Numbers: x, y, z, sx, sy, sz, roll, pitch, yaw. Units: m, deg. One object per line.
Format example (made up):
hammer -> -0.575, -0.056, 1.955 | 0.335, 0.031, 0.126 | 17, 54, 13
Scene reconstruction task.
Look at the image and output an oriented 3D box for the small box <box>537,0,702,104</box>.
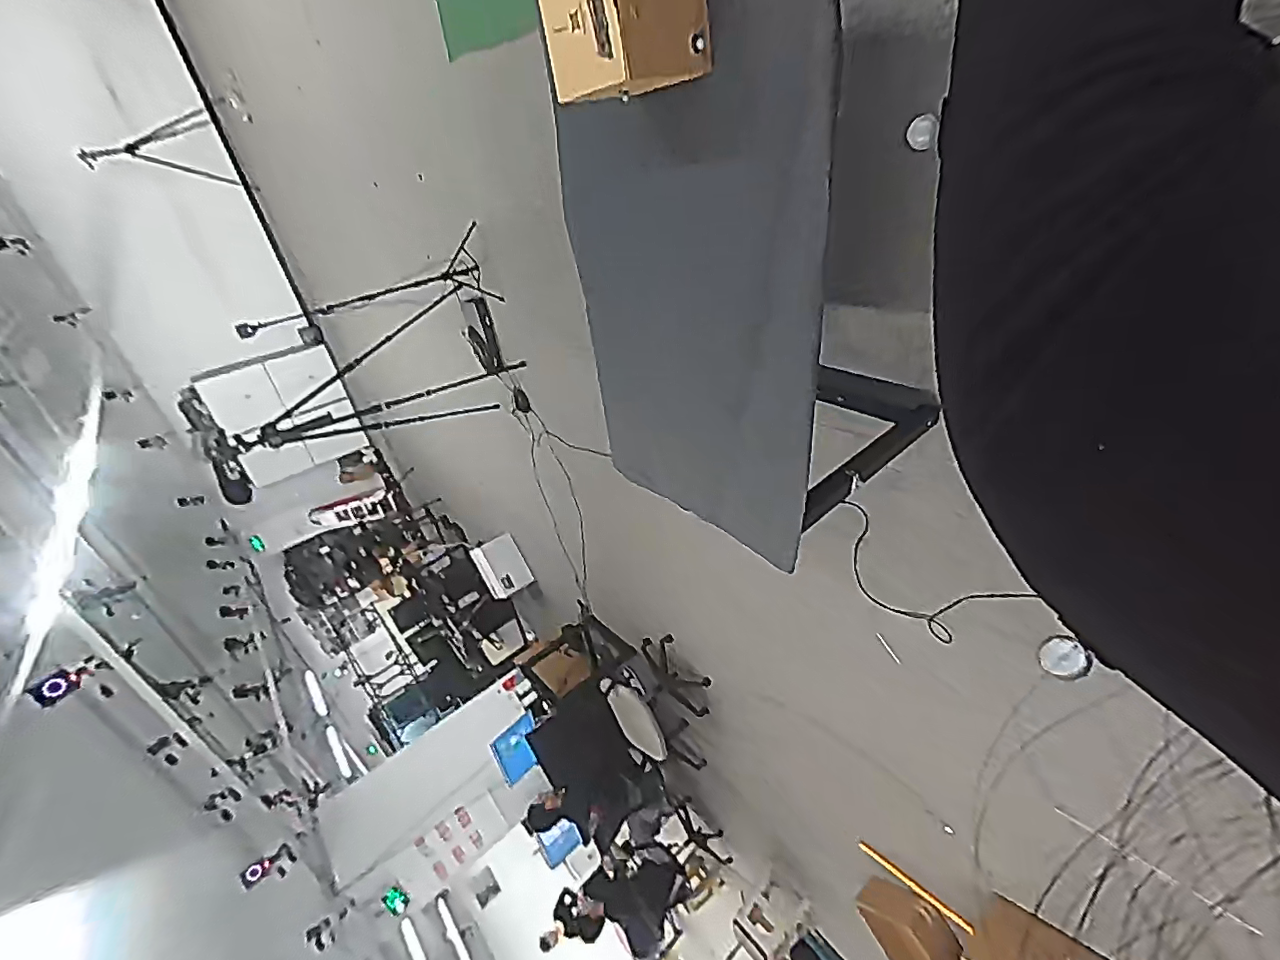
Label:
small box -> -0.024, -0.664, 0.779 | 0.179, 0.176, 0.168 | 26, 137, 45
